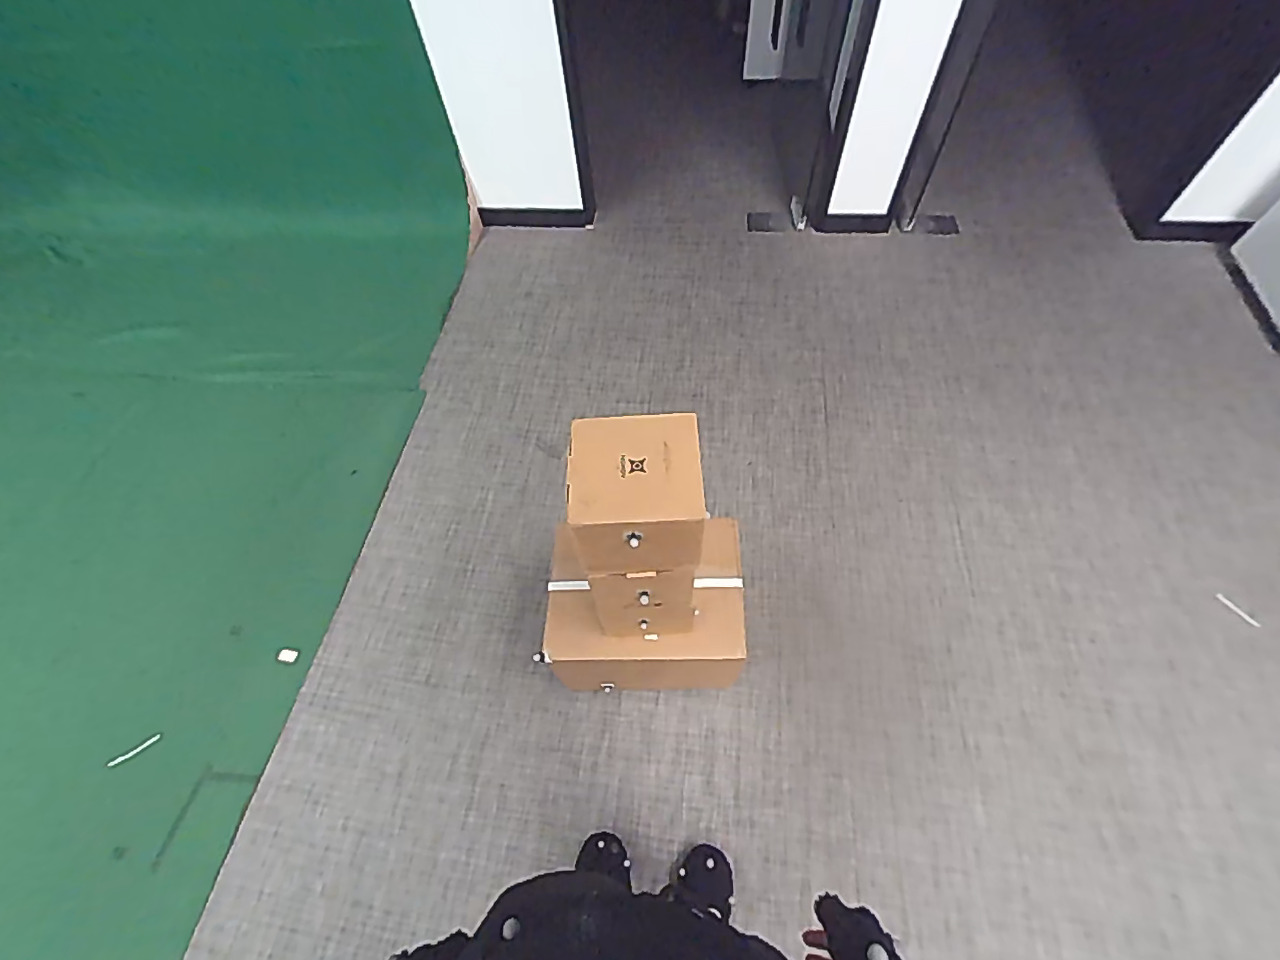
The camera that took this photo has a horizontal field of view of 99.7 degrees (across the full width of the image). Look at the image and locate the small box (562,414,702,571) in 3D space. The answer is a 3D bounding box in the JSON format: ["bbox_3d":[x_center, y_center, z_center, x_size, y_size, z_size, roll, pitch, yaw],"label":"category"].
[{"bbox_3d":[-0.007,0.024,0.770,0.179,0.176,0.168,-3,60,1],"label":"small box"}]

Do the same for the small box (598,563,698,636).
[{"bbox_3d":[0.010,0.196,1.046,0.179,0.176,0.168,-5,59,-1],"label":"small box"}]

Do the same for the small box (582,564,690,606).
[{"bbox_3d":[-0.003,0.107,0.910,0.168,0.176,0.179,-4,59,1],"label":"small box"}]
